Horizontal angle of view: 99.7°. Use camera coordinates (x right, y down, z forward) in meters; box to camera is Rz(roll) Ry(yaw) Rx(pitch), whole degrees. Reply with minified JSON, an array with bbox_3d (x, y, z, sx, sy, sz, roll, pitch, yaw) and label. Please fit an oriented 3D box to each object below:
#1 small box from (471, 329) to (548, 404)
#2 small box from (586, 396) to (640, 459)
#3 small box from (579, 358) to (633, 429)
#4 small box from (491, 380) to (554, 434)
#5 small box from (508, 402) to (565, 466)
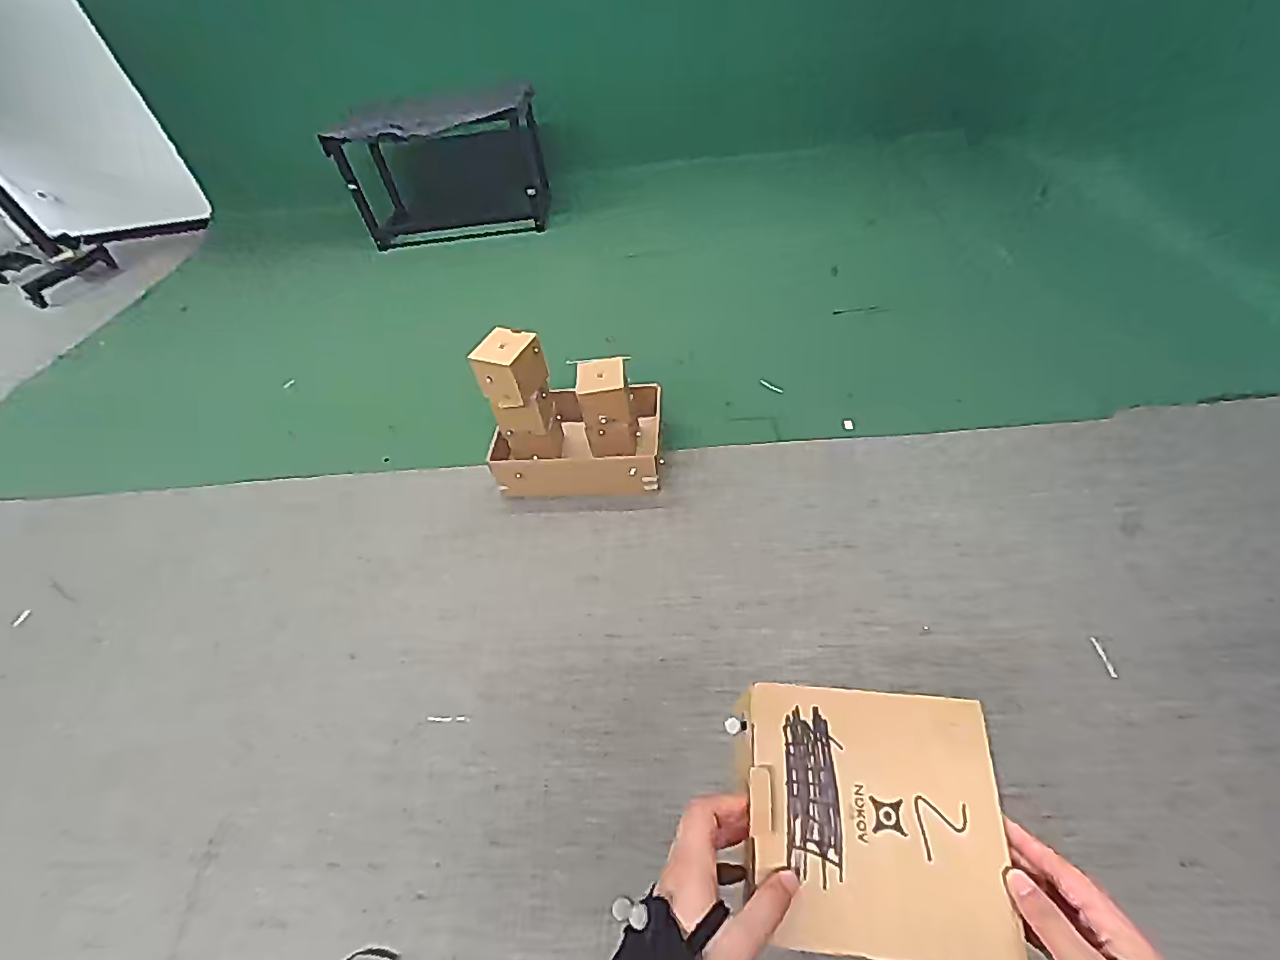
[{"bbox_3d":[-0.427,-0.378,1.809,0.168,0.176,0.179,15,51,20],"label":"small box"},{"bbox_3d":[-0.097,-0.200,2.044,0.168,0.176,0.179,0,48,10],"label":"small box"},{"bbox_3d":[-0.118,-0.306,1.922,0.168,0.176,0.179,-8,50,4],"label":"small box"},{"bbox_3d":[-0.412,-0.275,1.934,0.168,0.176,0.179,-2,47,5],"label":"small box"},{"bbox_3d":[-0.388,-0.173,2.061,0.168,0.176,0.179,-4,48,5],"label":"small box"}]
